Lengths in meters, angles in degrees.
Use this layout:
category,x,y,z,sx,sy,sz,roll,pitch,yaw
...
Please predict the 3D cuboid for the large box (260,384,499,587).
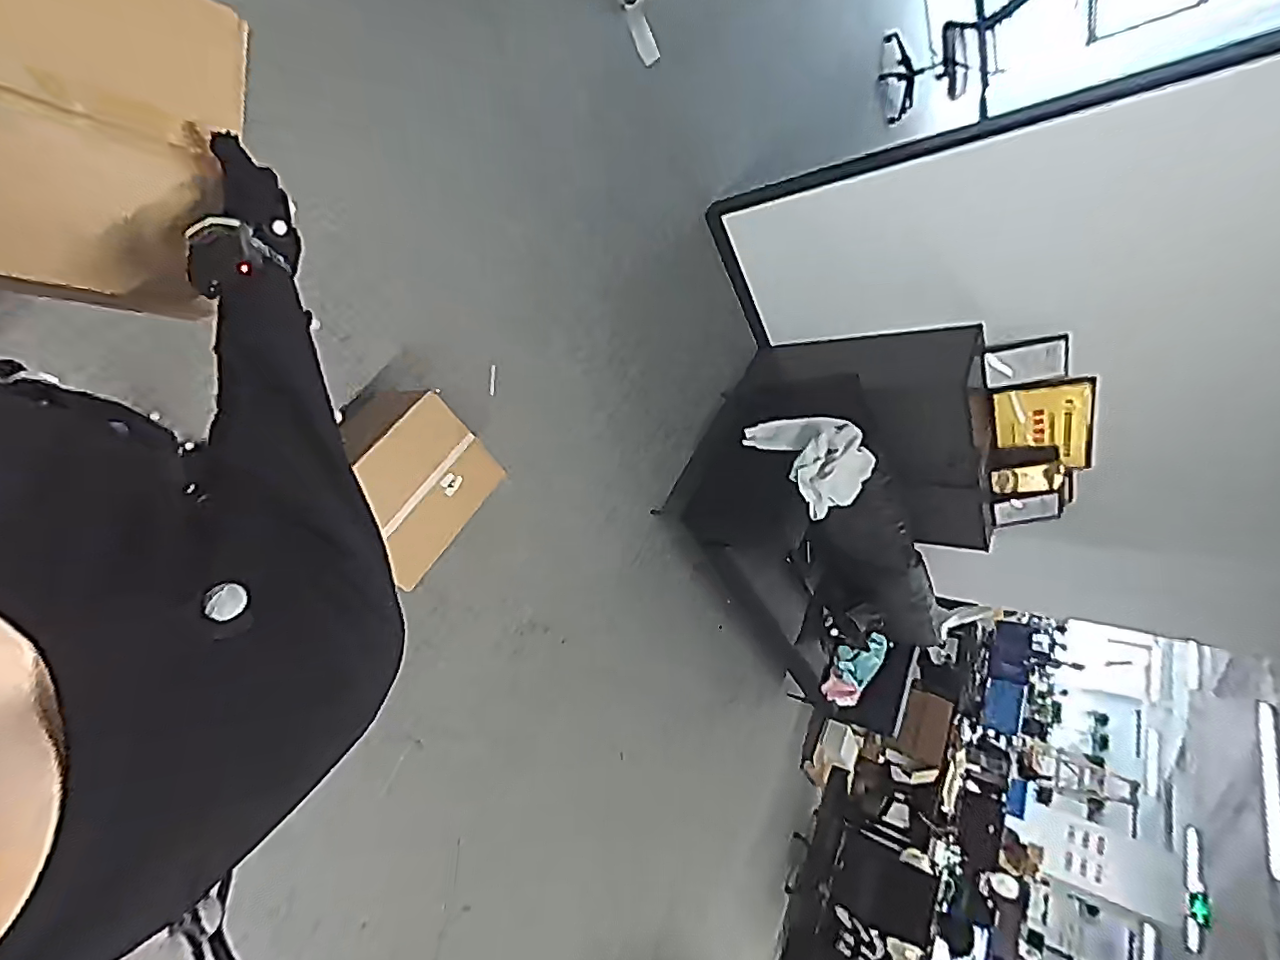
category,x,y,z,sx,sy,sz,roll,pitch,yaw
large box,-0.657,0.006,1.397,0.408,0.320,0.320,-58,134,-29
